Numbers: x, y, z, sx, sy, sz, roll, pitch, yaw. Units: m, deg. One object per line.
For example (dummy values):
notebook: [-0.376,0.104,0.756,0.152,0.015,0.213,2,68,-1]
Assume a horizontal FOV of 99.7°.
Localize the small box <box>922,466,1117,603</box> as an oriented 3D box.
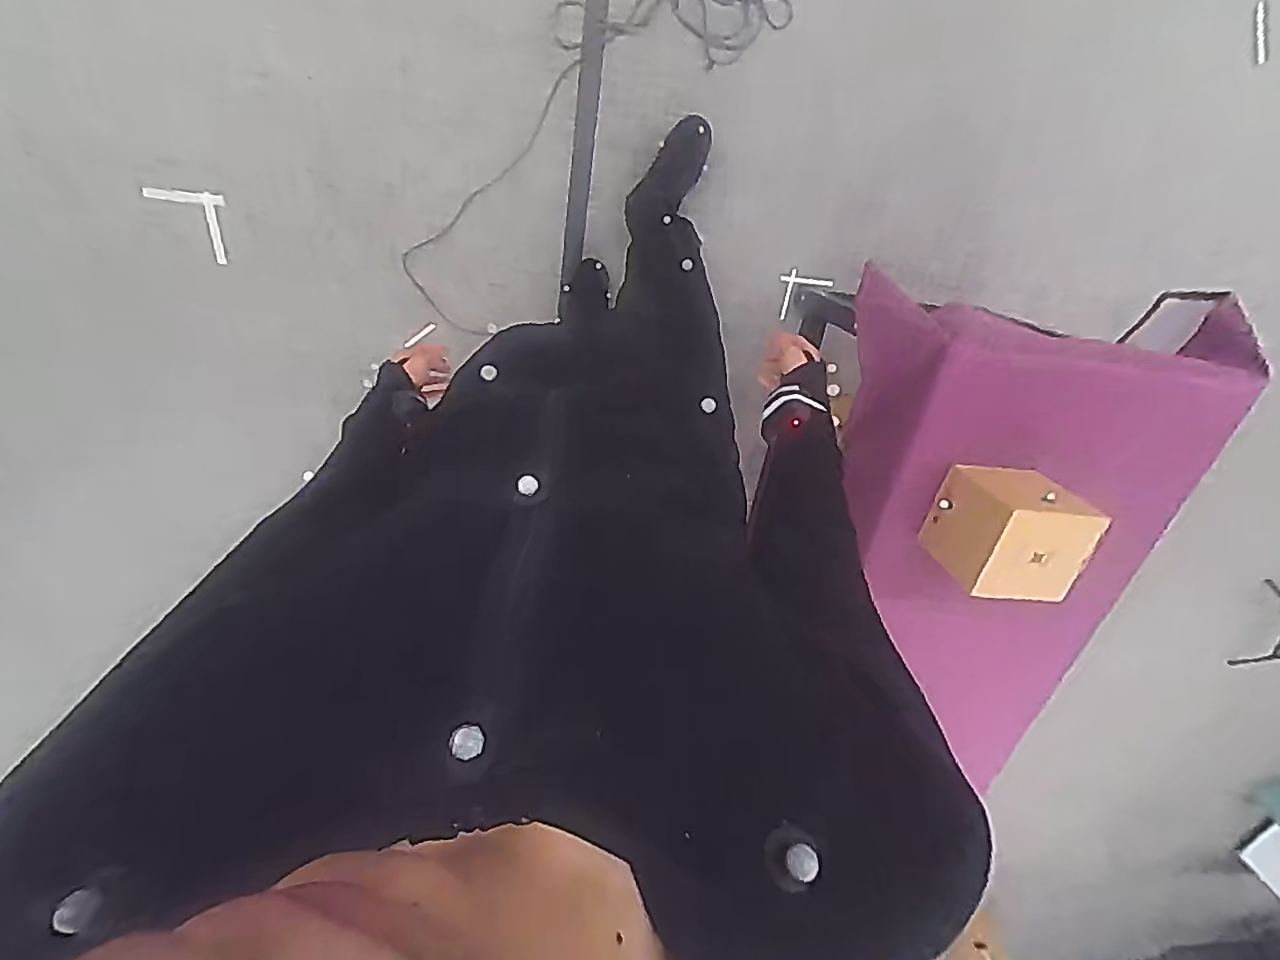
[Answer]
small box: [0.628,0.088,0.920,0.179,0.176,0.168,5,117,-8]
